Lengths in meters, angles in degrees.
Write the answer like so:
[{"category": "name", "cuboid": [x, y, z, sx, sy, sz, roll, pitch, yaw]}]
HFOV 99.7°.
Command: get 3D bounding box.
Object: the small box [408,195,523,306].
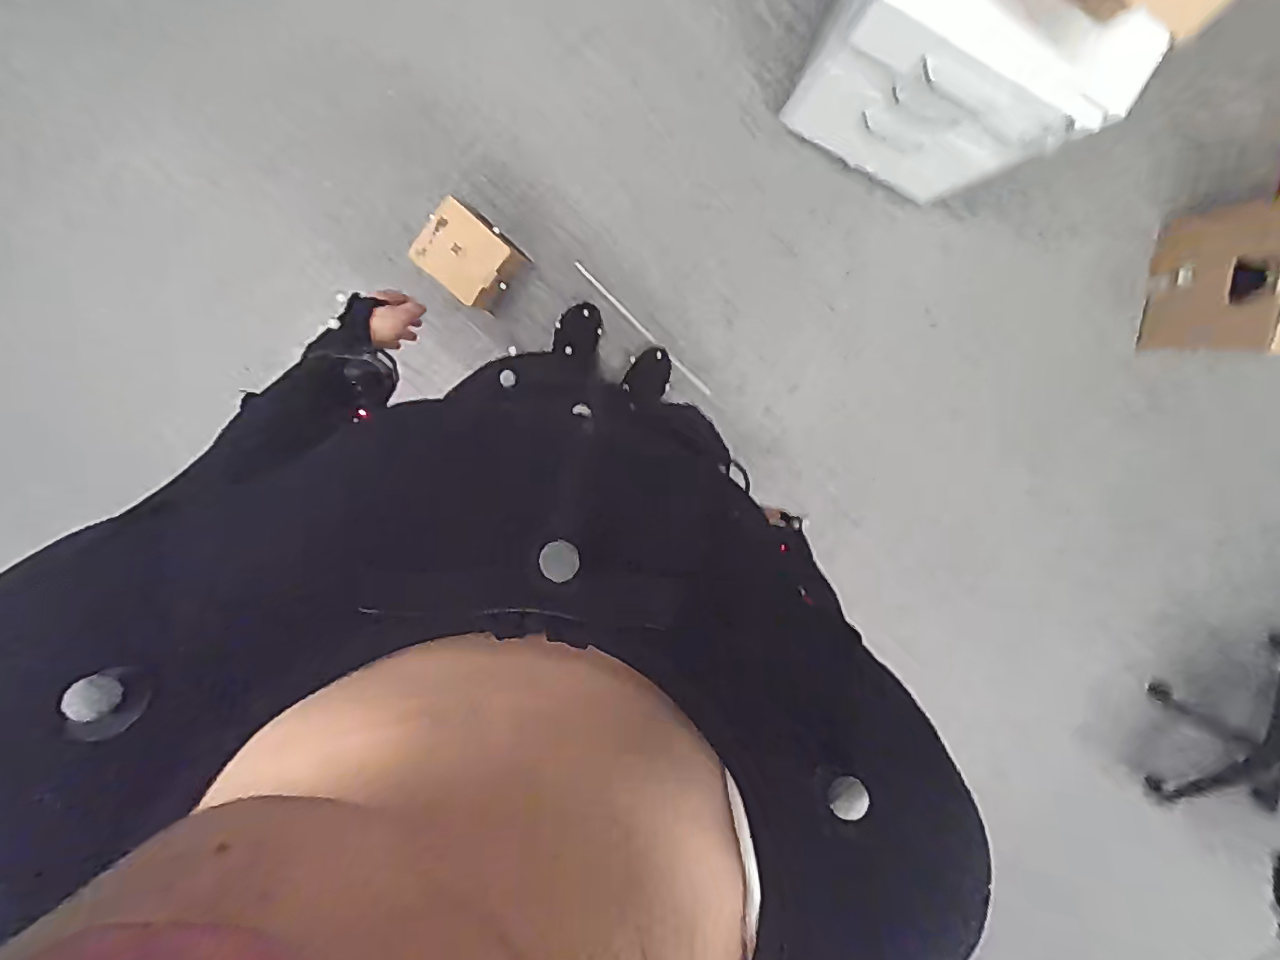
[{"category": "small box", "cuboid": [-0.404, -0.537, 1.288, 0.179, 0.176, 0.168, 41, 101, -11]}]
